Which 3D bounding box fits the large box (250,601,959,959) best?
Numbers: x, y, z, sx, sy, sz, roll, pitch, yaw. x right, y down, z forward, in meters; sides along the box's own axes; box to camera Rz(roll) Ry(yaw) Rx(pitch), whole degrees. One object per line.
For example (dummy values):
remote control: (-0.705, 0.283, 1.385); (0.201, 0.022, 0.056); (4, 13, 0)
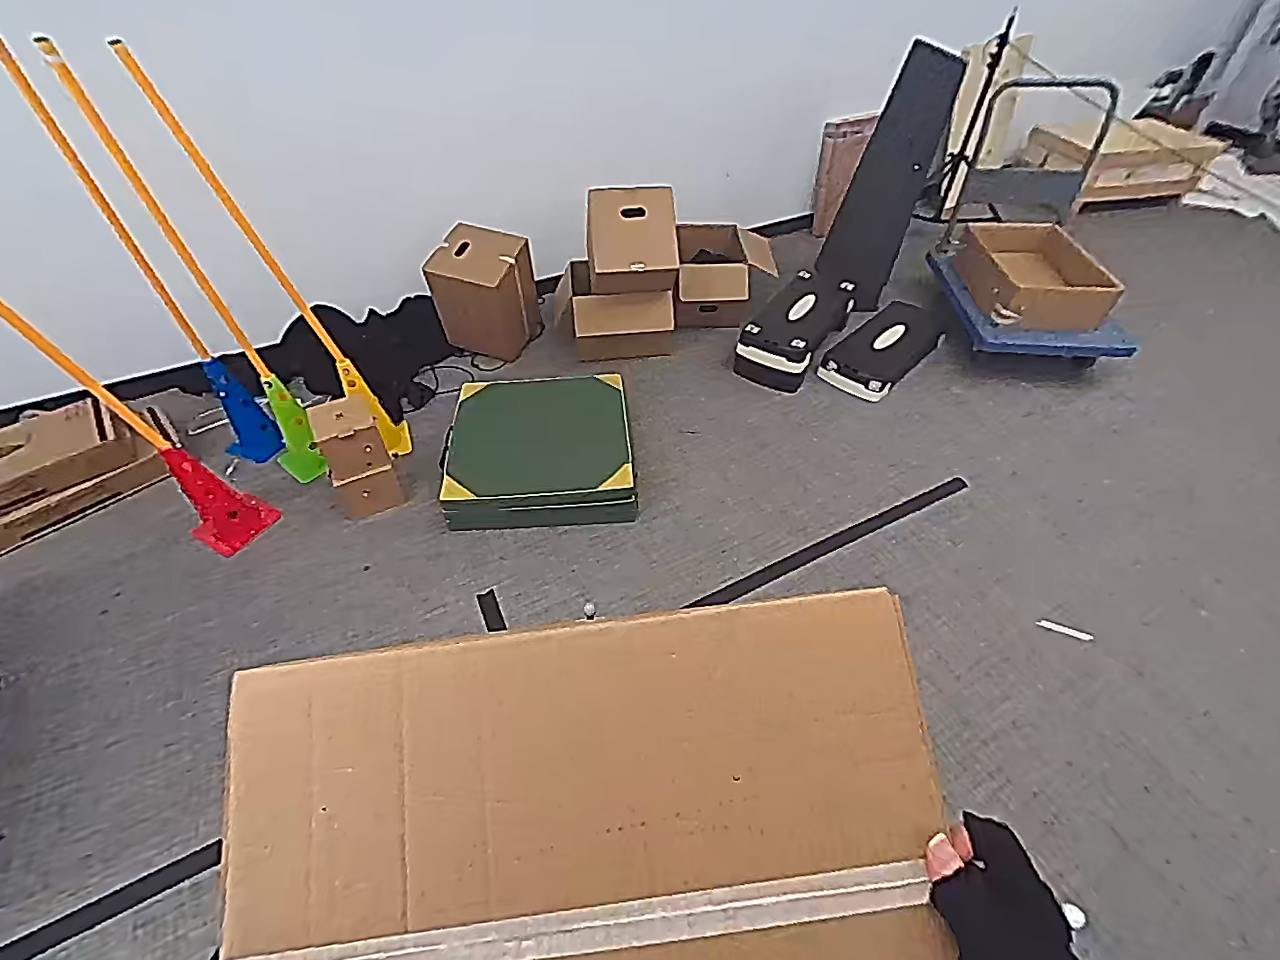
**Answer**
large box: (-0.019, 0.285, 0.454); (0.408, 0.320, 0.320); (-7, 77, -1)
